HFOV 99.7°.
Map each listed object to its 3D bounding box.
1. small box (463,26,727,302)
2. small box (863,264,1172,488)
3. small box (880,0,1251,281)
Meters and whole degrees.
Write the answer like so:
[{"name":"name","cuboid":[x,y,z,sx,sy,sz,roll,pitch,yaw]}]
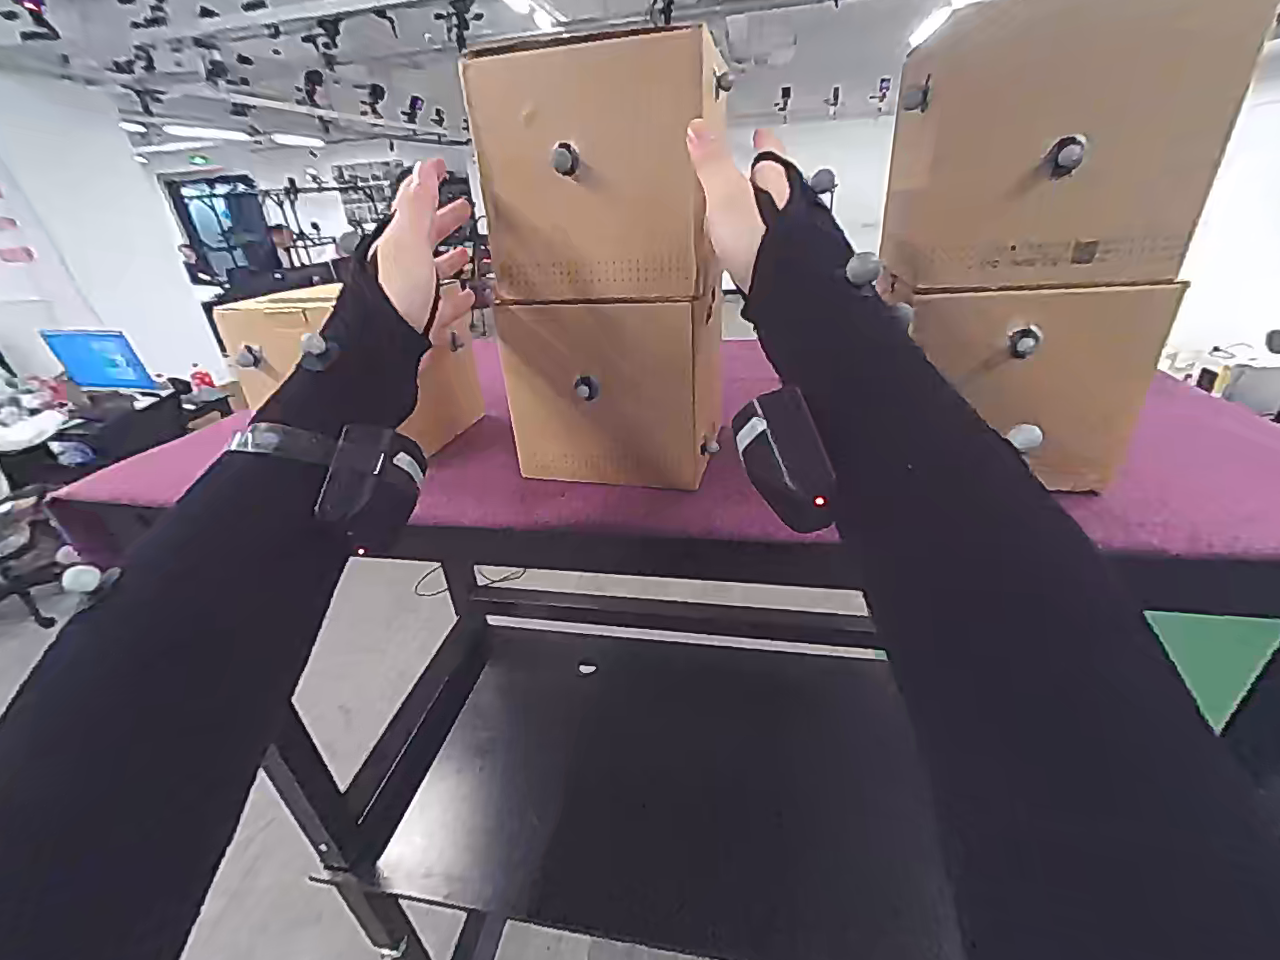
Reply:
[{"name":"small box","cuboid":[-0.021,-0.256,0.472,0.179,0.176,0.168,2,28,14]},{"name":"small box","cuboid":[0.305,-0.103,0.489,0.179,0.176,0.168,3,29,15]},{"name":"small box","cuboid":[0.293,-0.251,0.420,0.168,0.176,0.179,3,29,14]}]
